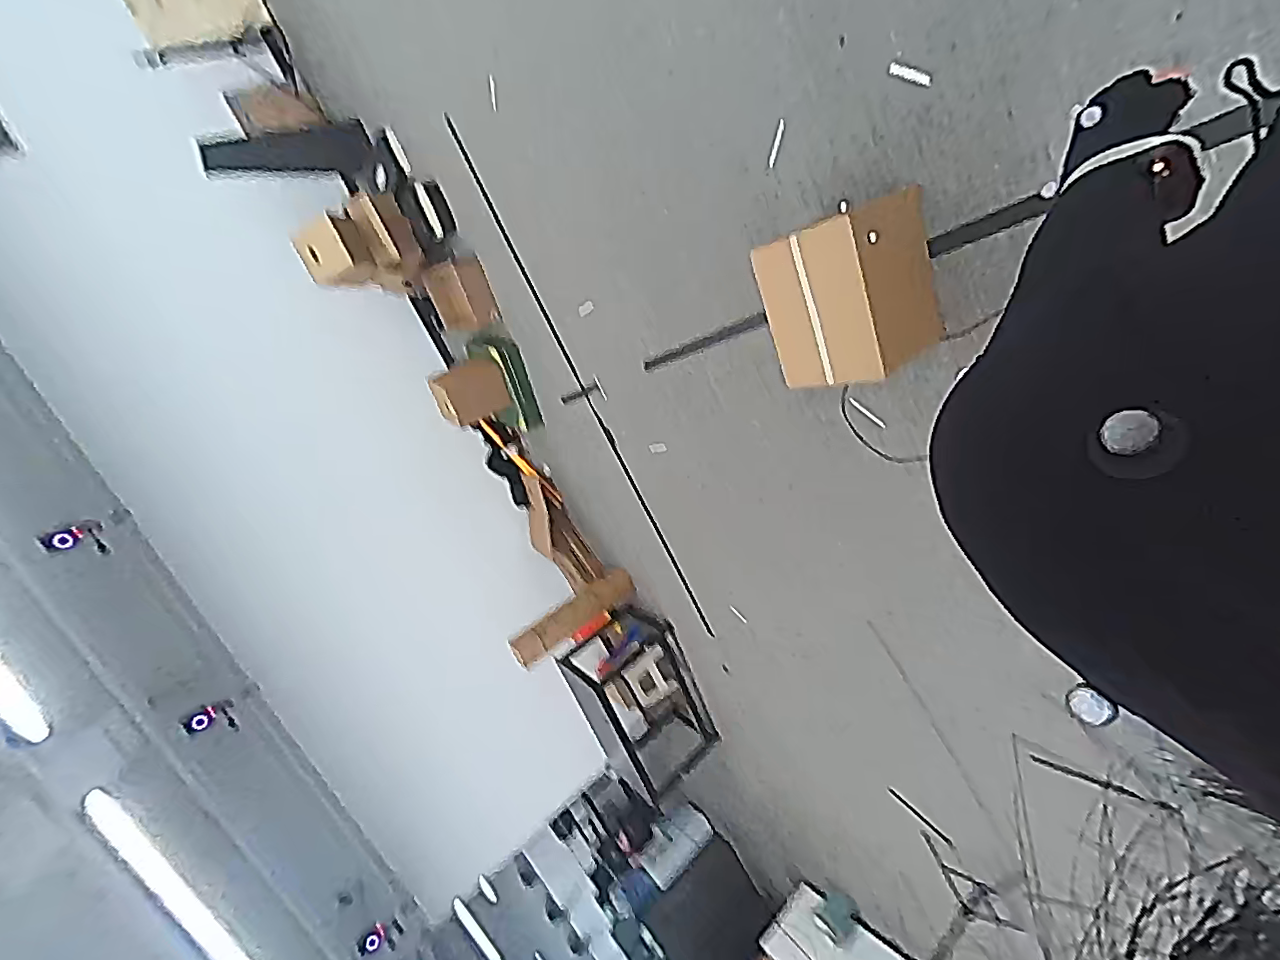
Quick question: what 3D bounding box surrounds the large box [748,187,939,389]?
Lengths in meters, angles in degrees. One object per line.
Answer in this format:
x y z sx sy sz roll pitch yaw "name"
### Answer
0.560 -0.506 1.474 0.320 0.320 0.408 7 124 55 "large box"
